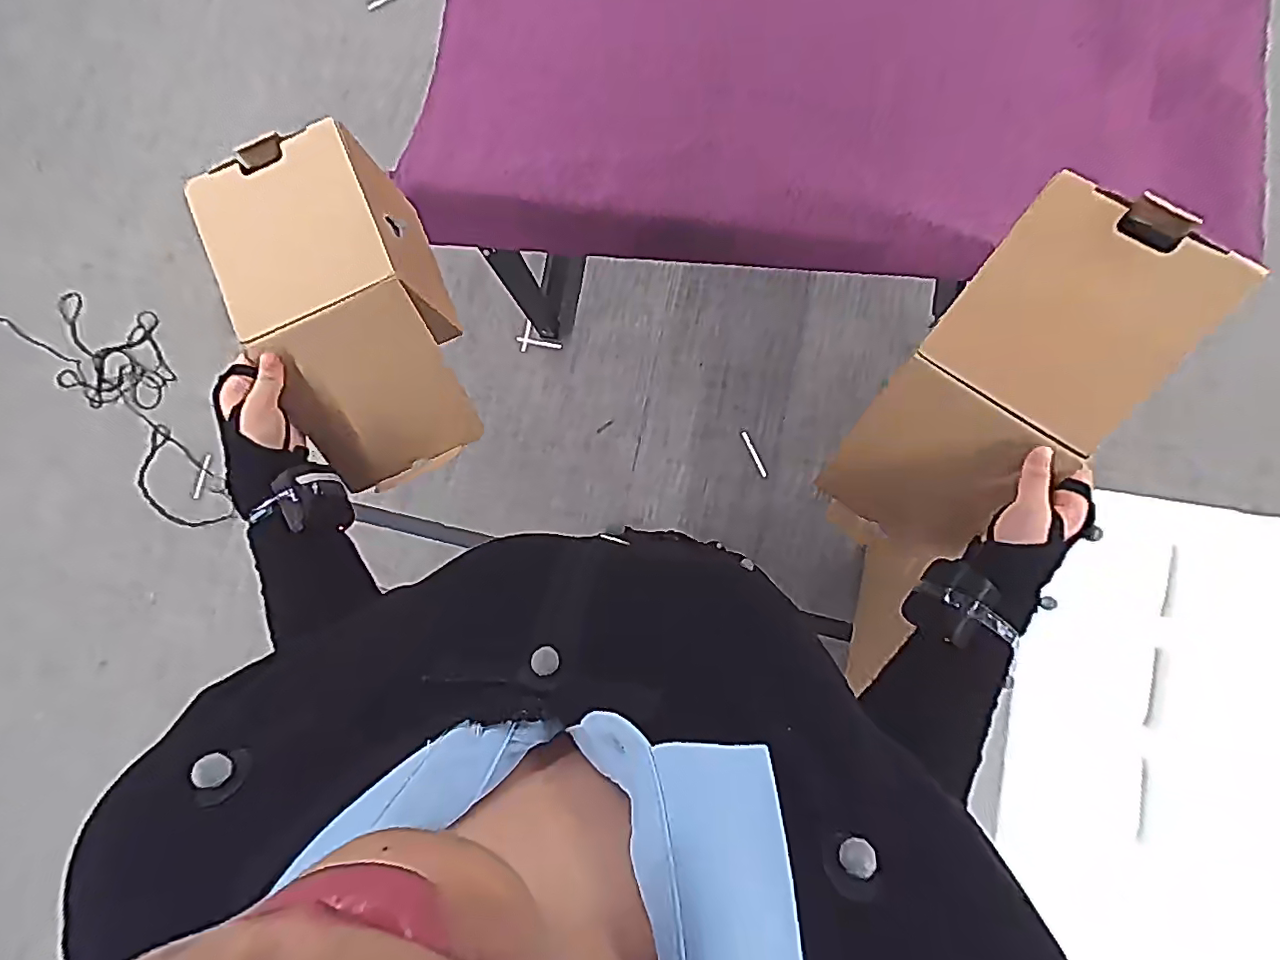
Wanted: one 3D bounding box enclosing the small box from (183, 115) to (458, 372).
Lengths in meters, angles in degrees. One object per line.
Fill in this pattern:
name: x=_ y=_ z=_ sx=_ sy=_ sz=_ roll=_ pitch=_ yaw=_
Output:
small box: x=-0.327 y=-0.234 z=0.589 sx=0.168 sy=0.176 sz=0.179 roll=-24 pitch=85 yaw=1
